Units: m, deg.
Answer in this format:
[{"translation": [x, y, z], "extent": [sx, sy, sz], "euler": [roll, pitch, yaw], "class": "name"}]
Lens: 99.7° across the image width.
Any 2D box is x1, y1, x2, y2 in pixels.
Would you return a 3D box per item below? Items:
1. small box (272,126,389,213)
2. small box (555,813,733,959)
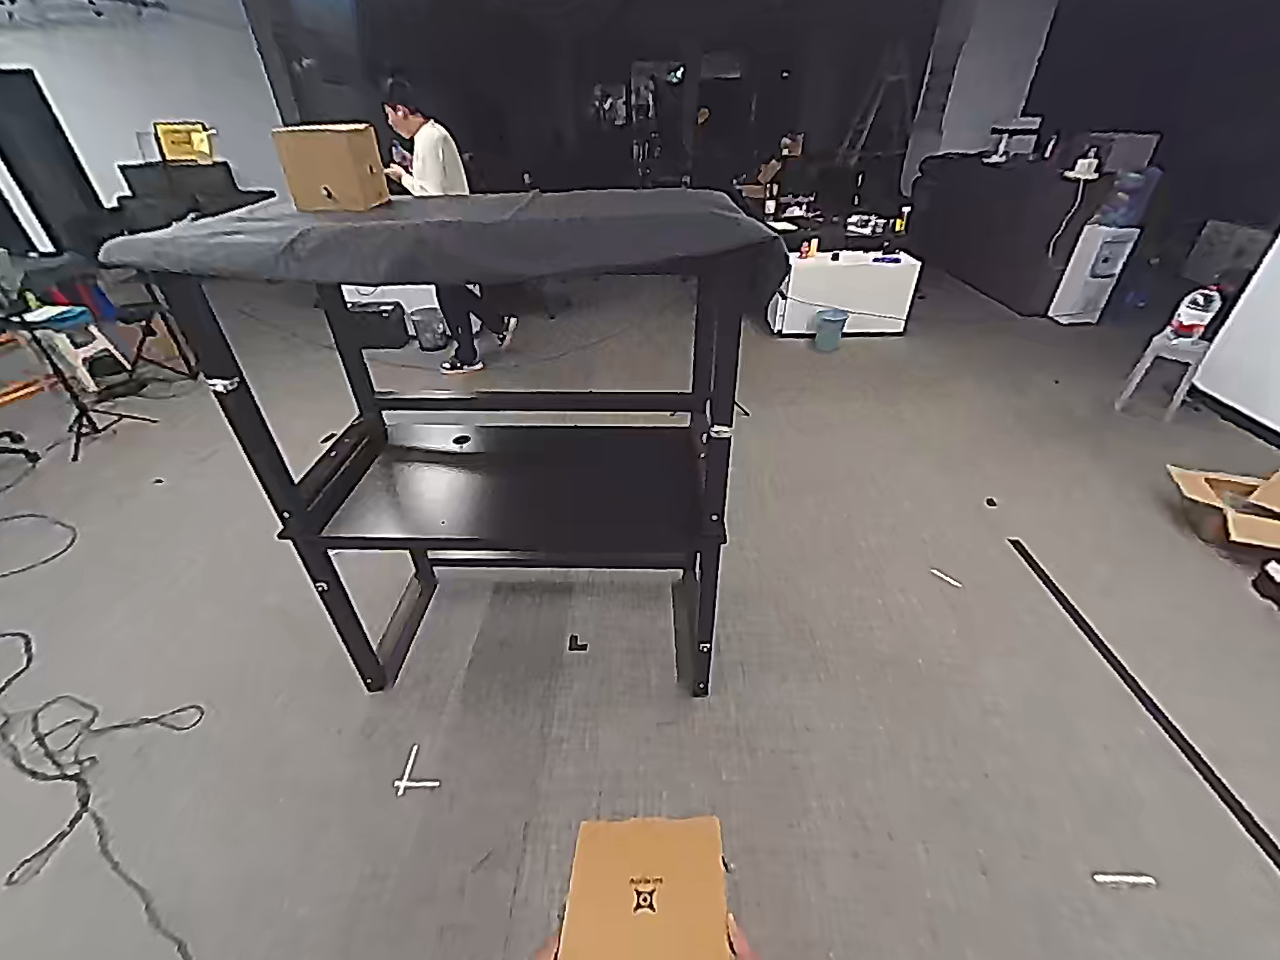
[{"translation": [-0.746, -0.763, 1.330], "extent": [0.179, 0.176, 0.168], "euler": [0, 35, -1], "class": "small box"}, {"translation": [0.014, 0.500, 0.579], "extent": [0.168, 0.176, 0.179], "euler": [-6, 17, 4], "class": "small box"}]
